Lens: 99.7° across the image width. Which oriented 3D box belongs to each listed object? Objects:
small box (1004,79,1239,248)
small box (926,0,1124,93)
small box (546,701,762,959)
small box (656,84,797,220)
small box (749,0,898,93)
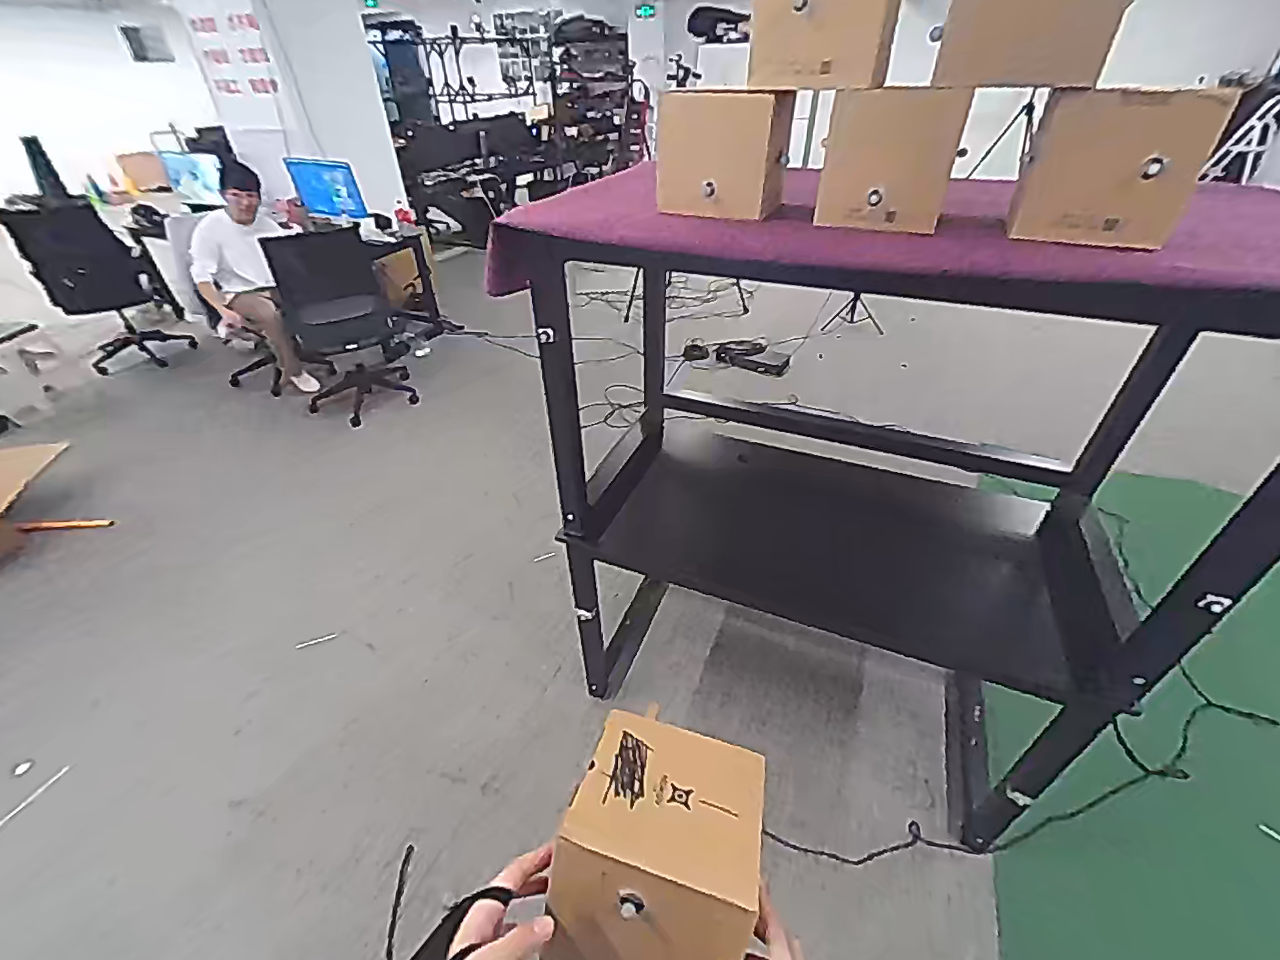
[{"bbox_3d":[0.599,-0.412,0.704,0.168,0.176,0.179,17,40,22],"label":"small box"},{"bbox_3d":[0.466,-0.573,0.646,0.179,0.176,0.168,15,40,21],"label":"small box"},{"bbox_3d":[0.017,0.365,0.546,0.179,0.176,0.168,12,19,11],"label":"small box"},{"bbox_3d":[0.136,-0.527,0.869,0.179,0.176,0.168,15,40,19],"label":"small box"},{"bbox_3d":[0.250,-0.625,0.726,0.168,0.176,0.179,15,40,21],"label":"small box"}]
